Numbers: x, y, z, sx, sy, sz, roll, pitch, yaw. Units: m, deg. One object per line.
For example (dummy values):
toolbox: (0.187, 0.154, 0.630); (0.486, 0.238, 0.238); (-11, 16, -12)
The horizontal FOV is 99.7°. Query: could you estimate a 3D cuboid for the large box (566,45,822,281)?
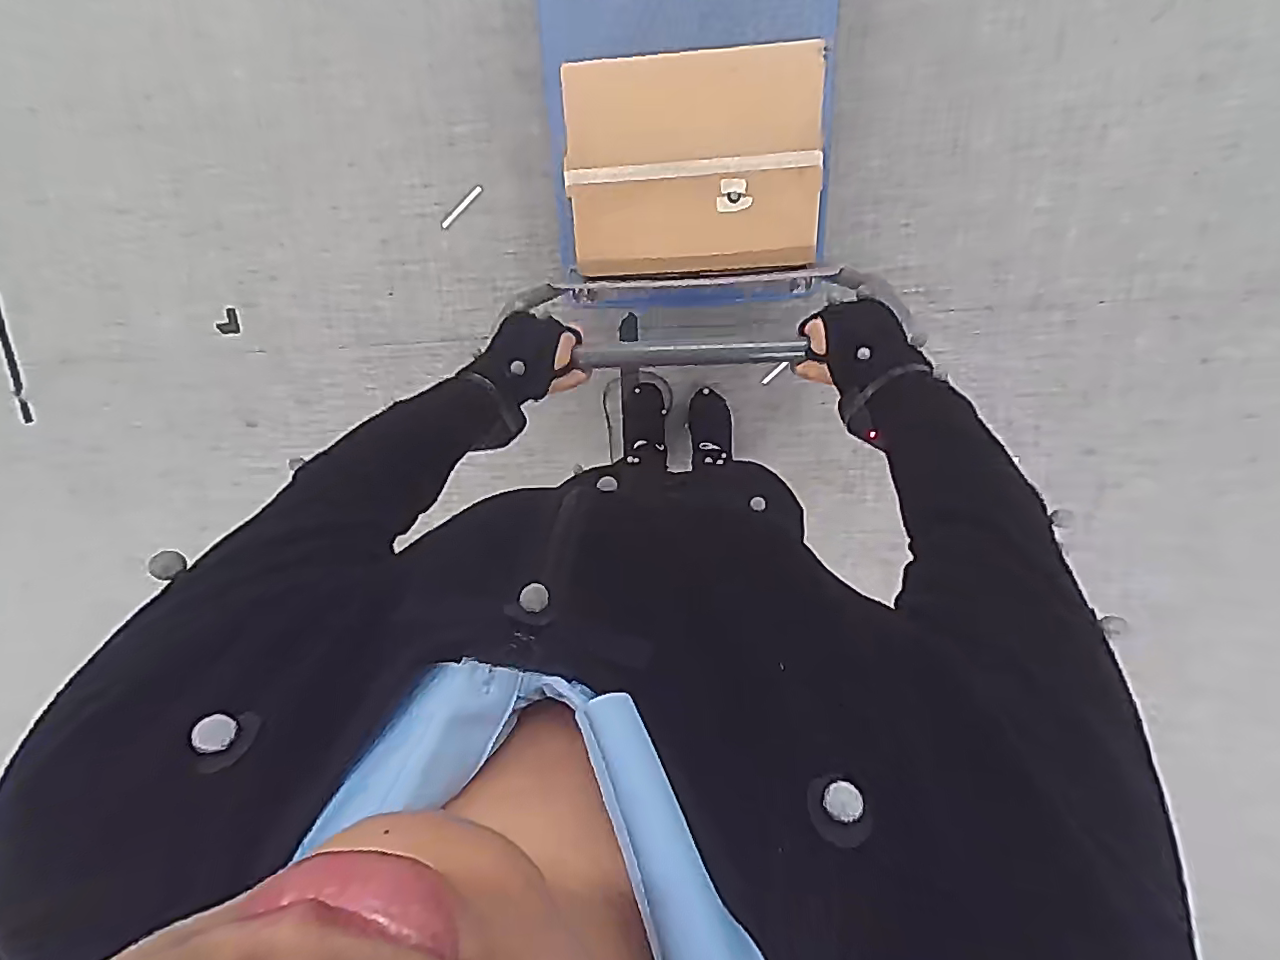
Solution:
large box: (0.099, -0.557, 1.025); (0.408, 0.320, 0.320); (-2, 111, 5)
